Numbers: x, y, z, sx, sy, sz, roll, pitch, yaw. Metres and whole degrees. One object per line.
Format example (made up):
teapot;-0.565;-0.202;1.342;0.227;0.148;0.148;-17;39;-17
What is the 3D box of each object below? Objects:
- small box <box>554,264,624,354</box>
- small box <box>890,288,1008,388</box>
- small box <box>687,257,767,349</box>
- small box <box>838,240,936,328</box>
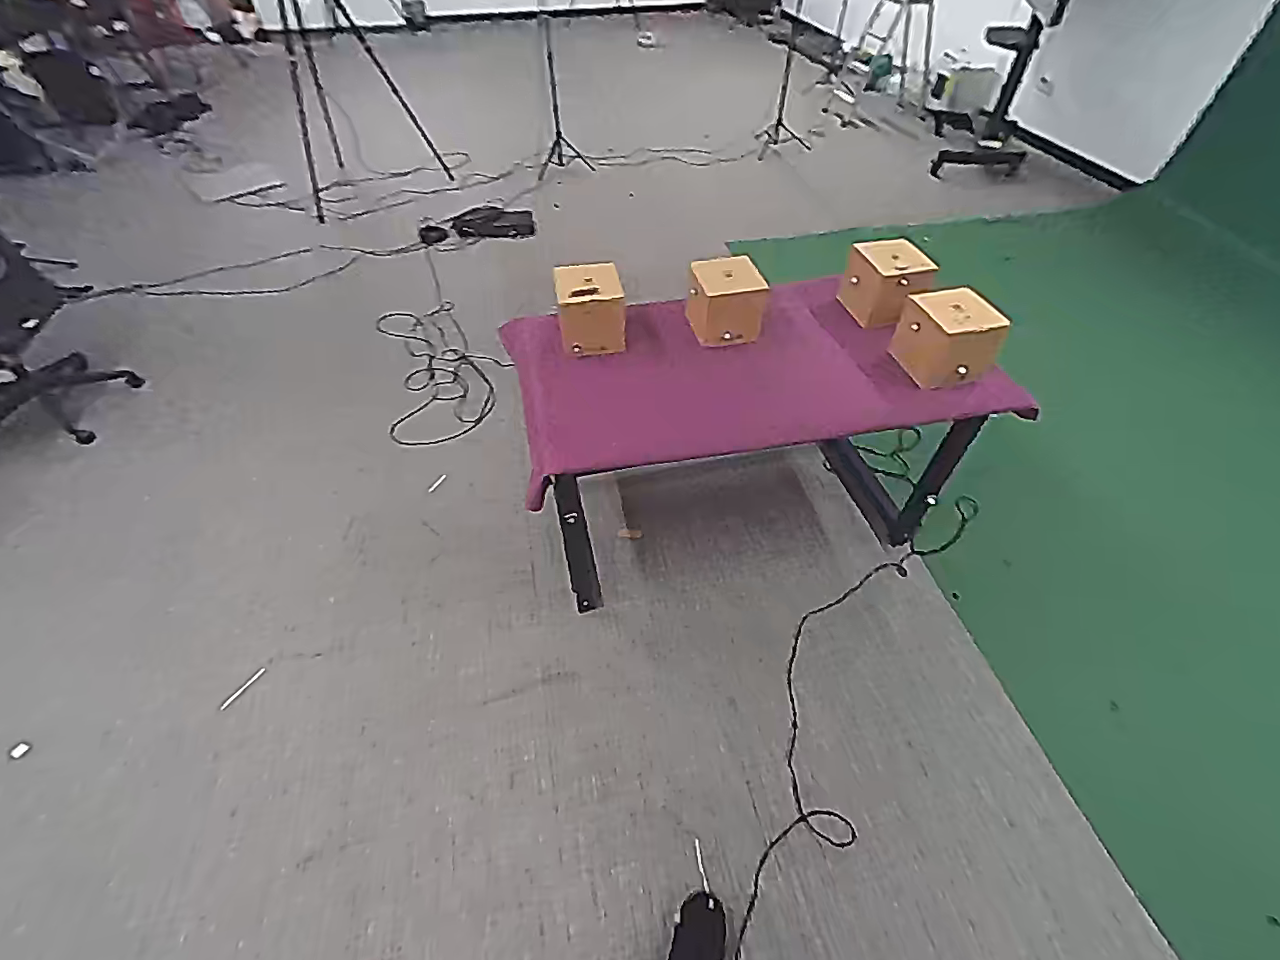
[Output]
small box;-0.136;-0.453;1.455;0.168;0.176;0.179;-8;51;-7
small box;0.766;-0.357;1.365;0.168;0.176;0.179;-10;49;-6
small box;0.229;-0.485;1.487;0.168;0.176;0.179;-10;51;-7
small box;0.693;-0.557;1.543;0.168;0.176;0.179;-11;50;-8
